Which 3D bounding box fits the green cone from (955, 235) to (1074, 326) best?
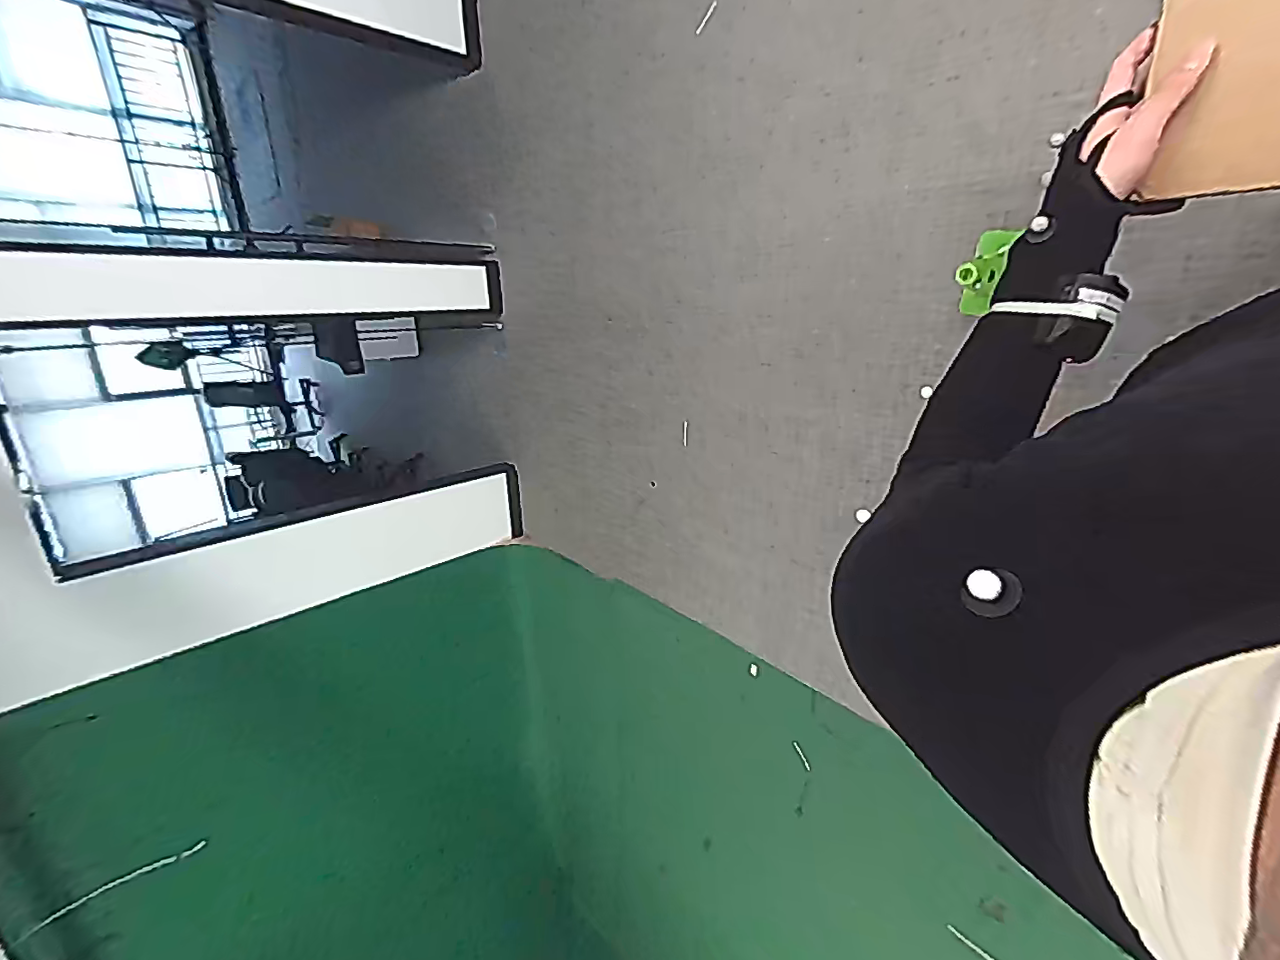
[{"bbox_3d":[0.798,-0.449,1.224,0.200,0.368,0.202,26,123,41],"label":"green cone"}]
